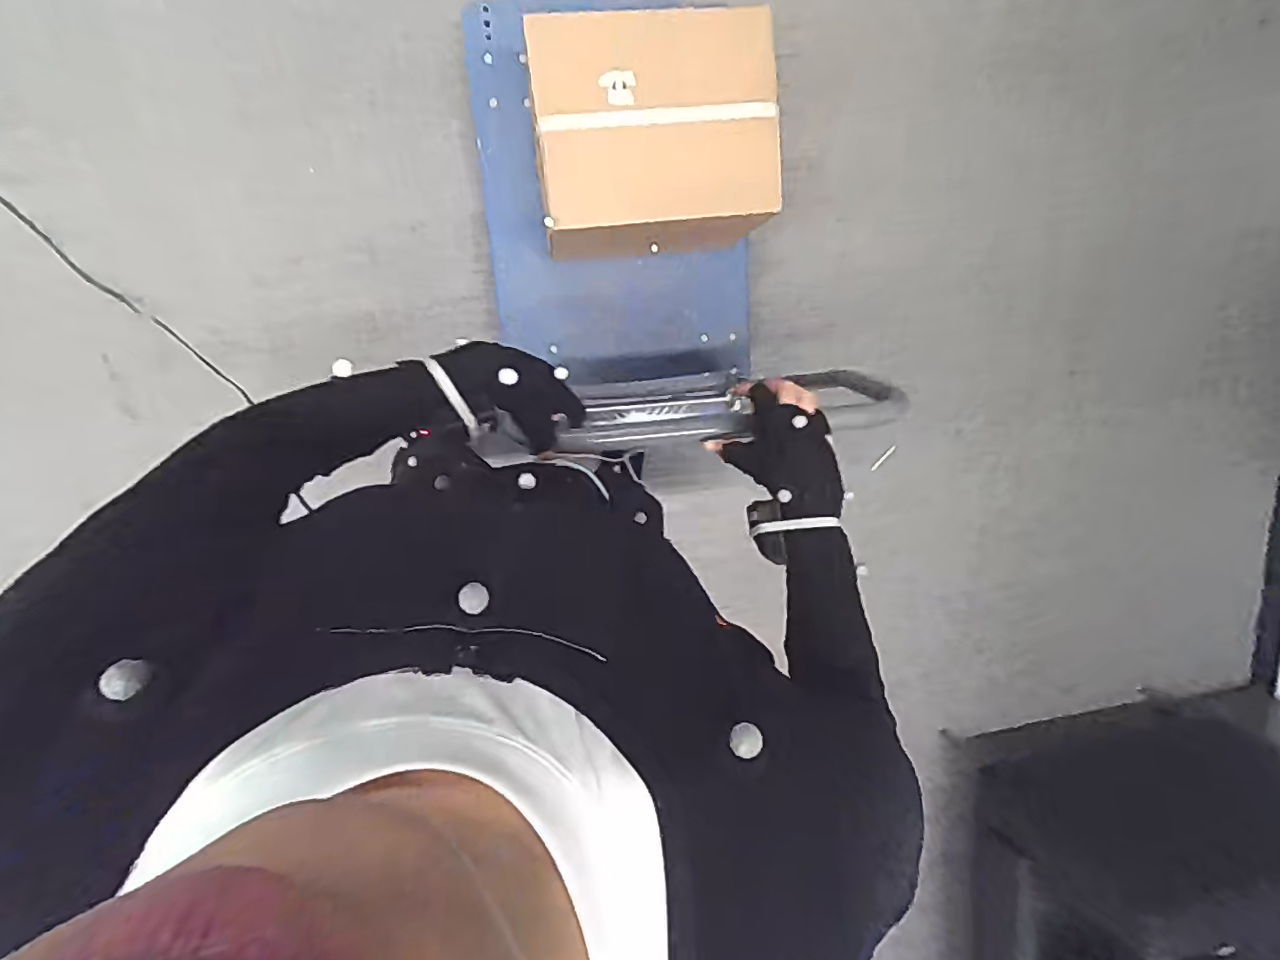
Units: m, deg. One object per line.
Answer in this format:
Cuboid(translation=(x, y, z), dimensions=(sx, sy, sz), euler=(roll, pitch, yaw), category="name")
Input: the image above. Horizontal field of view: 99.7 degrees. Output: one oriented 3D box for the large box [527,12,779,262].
Cuboid(translation=(0.013, -0.622, 1.040), dimensions=(0.408, 0.320, 0.320), euler=(-8, 102, -7), category="large box")
